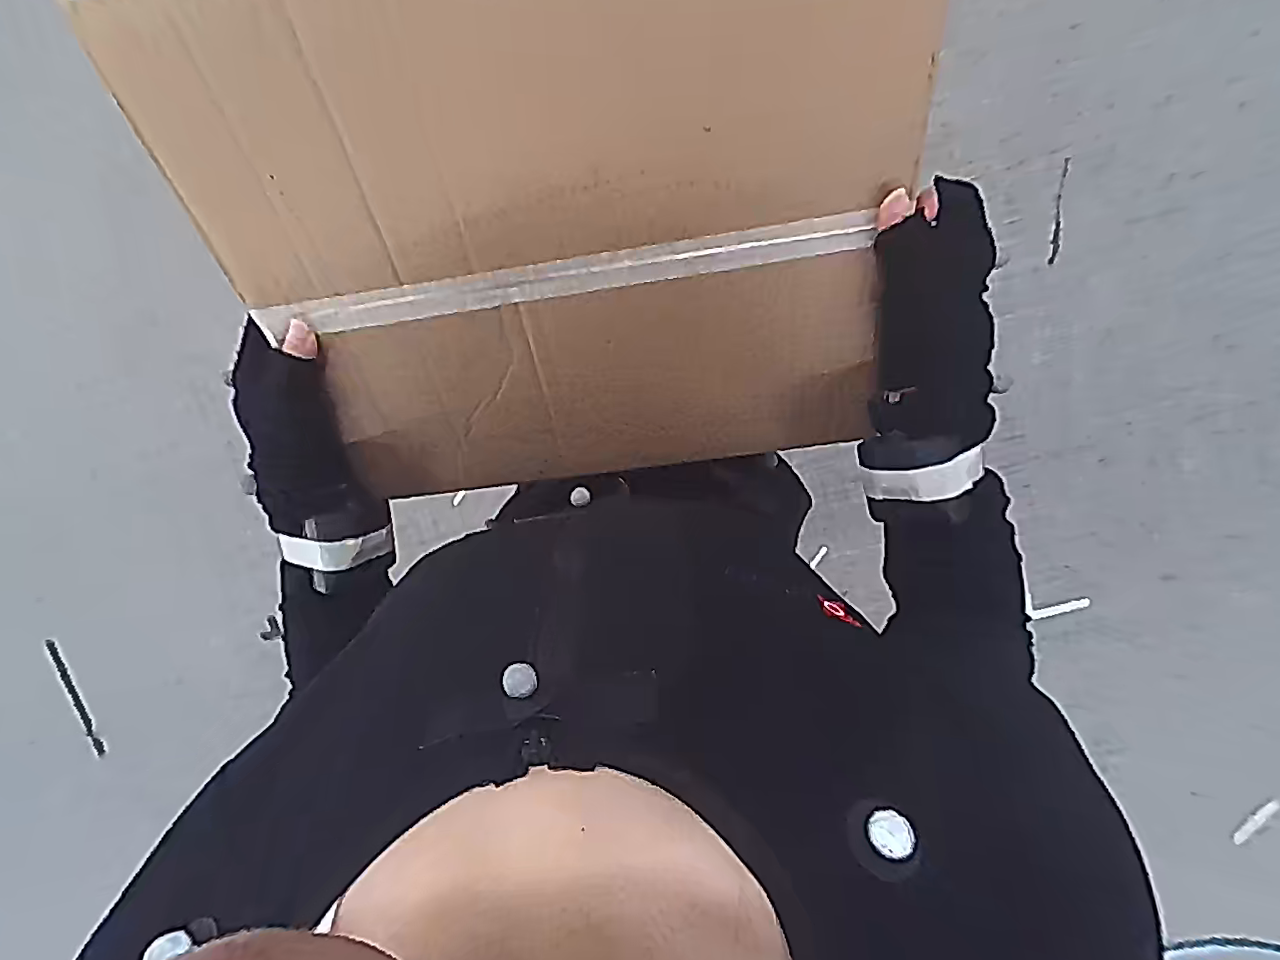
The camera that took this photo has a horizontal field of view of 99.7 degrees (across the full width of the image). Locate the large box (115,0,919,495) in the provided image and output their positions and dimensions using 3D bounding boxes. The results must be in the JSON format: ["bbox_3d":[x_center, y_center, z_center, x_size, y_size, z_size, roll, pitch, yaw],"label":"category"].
[{"bbox_3d":[-0.045,-0.226,0.457,0.408,0.320,0.320,-8,130,5],"label":"large box"}]
